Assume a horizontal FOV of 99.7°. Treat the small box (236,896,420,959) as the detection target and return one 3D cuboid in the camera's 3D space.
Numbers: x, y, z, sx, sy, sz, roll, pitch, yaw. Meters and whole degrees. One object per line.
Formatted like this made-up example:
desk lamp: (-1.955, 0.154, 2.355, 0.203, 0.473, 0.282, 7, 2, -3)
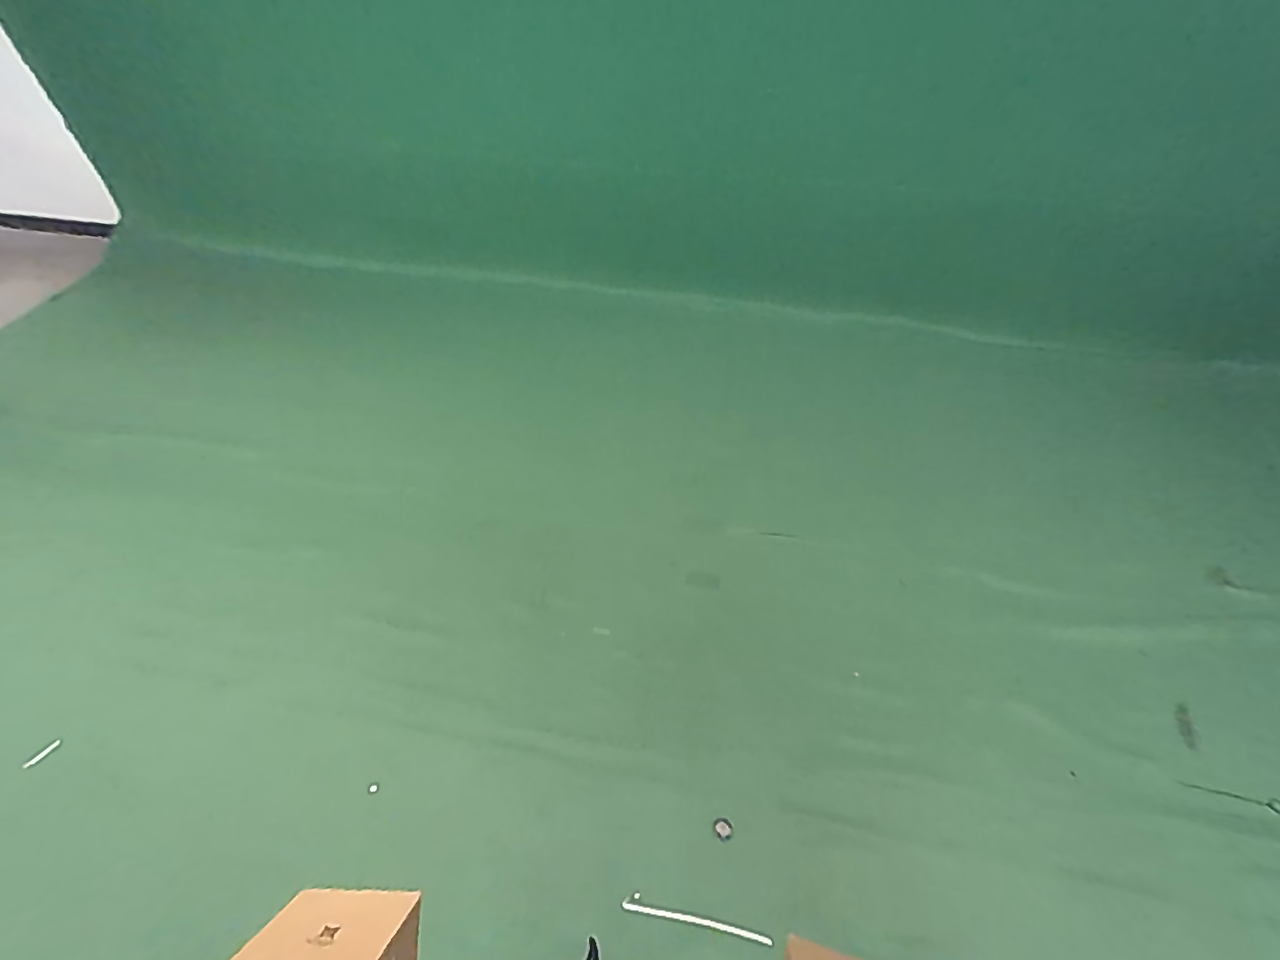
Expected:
small box: (-0.384, 0.641, 0.642, 0.168, 0.179, 0.176, 1, 82, 0)
